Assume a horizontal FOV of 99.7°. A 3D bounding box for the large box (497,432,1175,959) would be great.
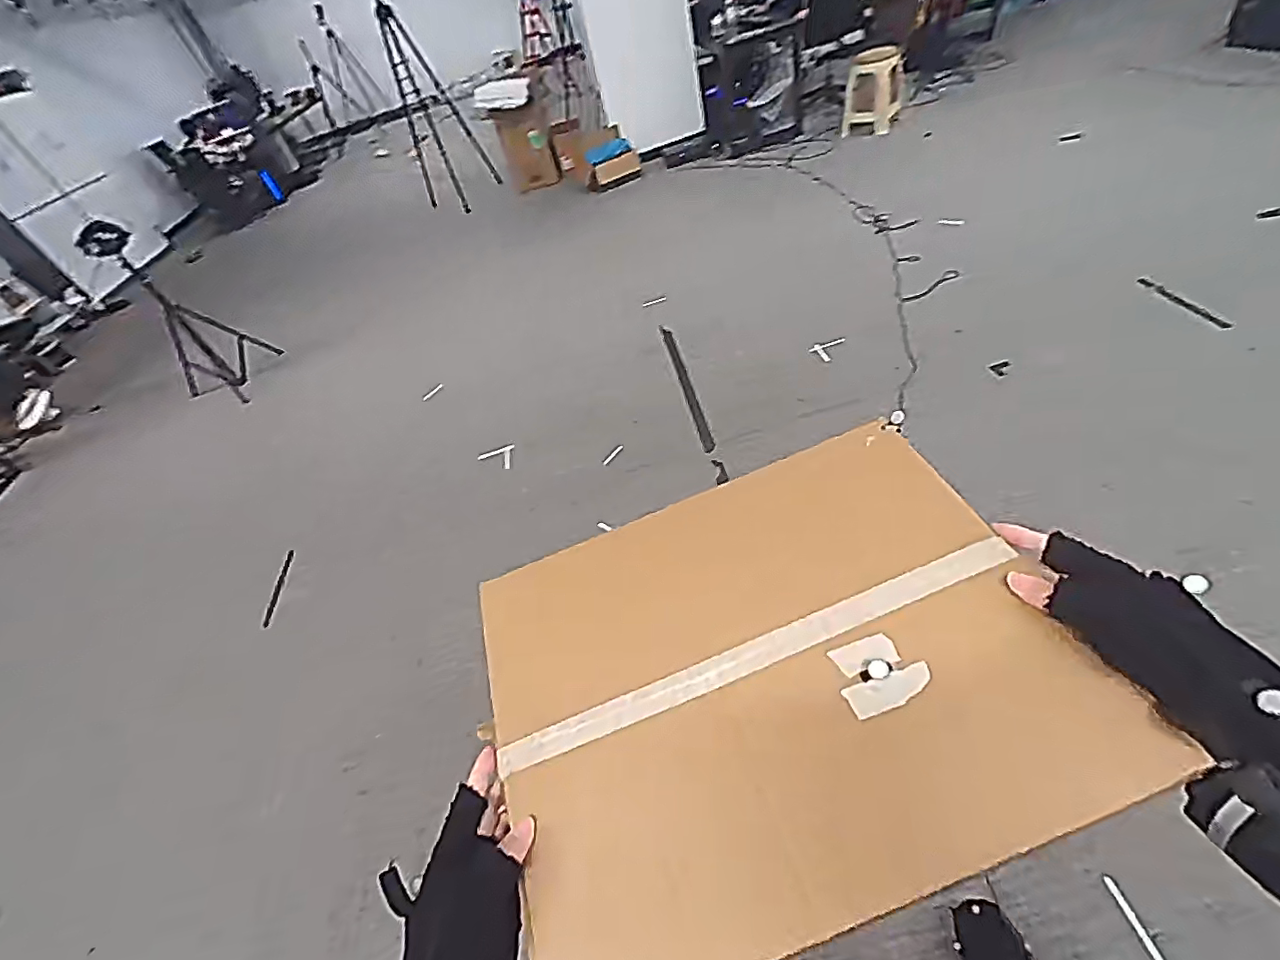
[{"bbox_3d":[0.127,0.225,0.524,0.408,0.320,0.320,-22,50,-2],"label":"large box"}]
